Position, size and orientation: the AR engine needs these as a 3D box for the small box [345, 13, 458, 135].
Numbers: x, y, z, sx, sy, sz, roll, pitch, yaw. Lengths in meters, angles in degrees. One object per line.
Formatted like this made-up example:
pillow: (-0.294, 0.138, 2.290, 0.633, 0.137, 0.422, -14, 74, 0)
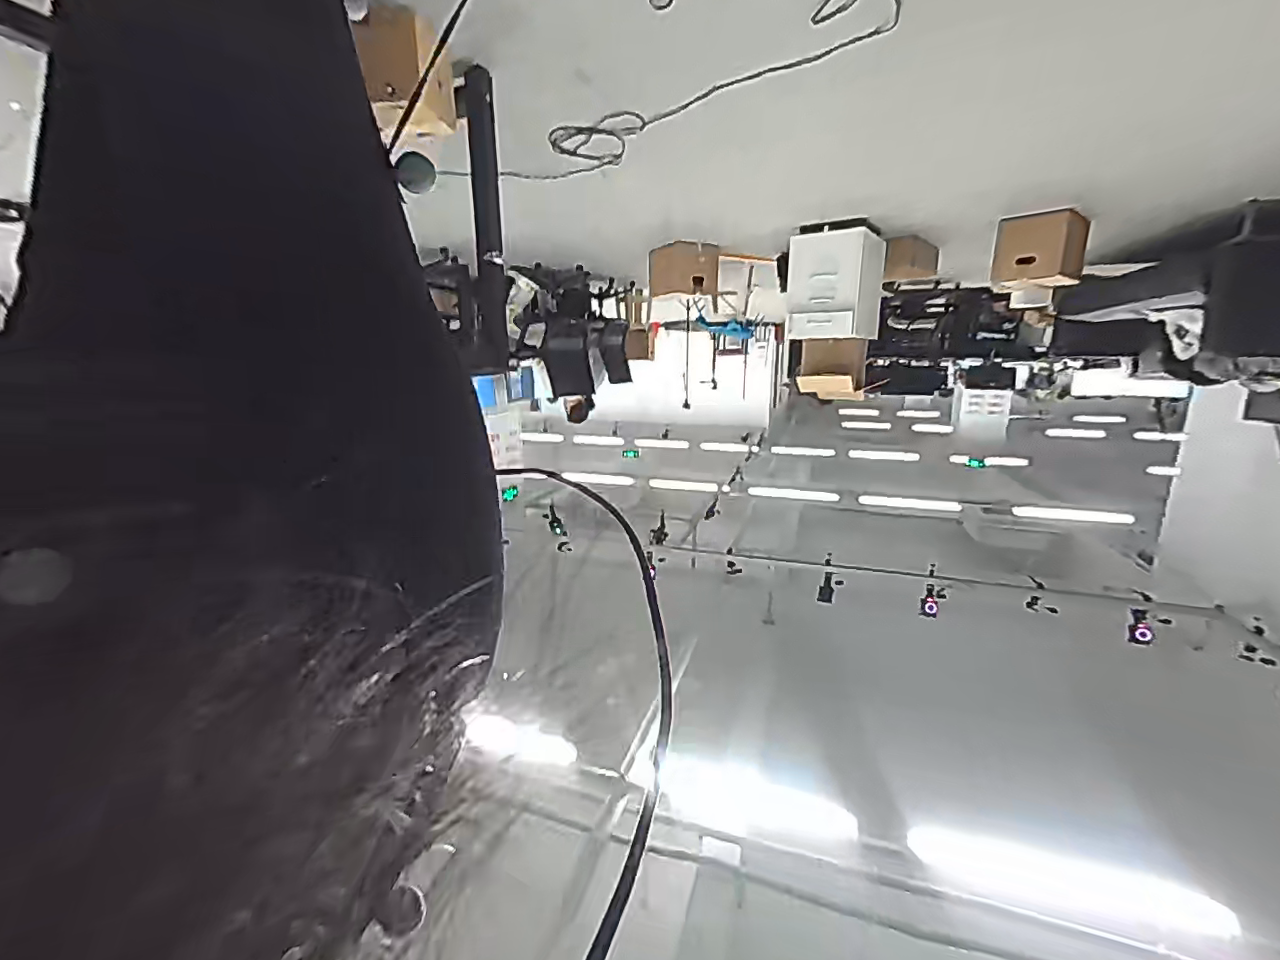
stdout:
small box: (-0.525, -0.896, 1.207, 0.168, 0.176, 0.179, 1, -165, 6)
